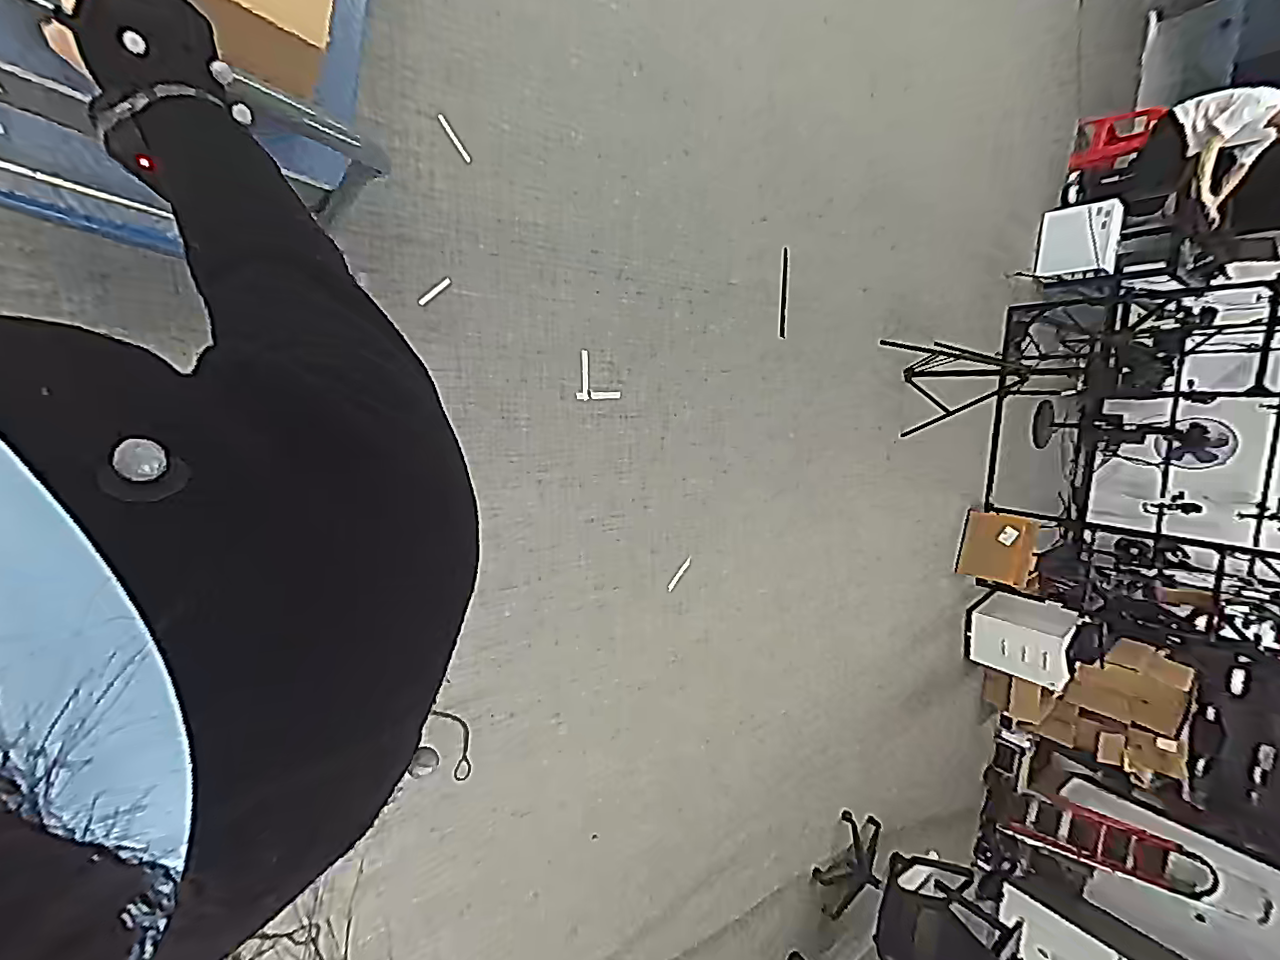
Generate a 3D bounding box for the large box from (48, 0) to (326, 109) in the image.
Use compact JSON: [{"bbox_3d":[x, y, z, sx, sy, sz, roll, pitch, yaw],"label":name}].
[{"bbox_3d":[-0.713,-0.871,0.824,0.408,0.320,0.320,9,92,-38],"label":"large box"}]
